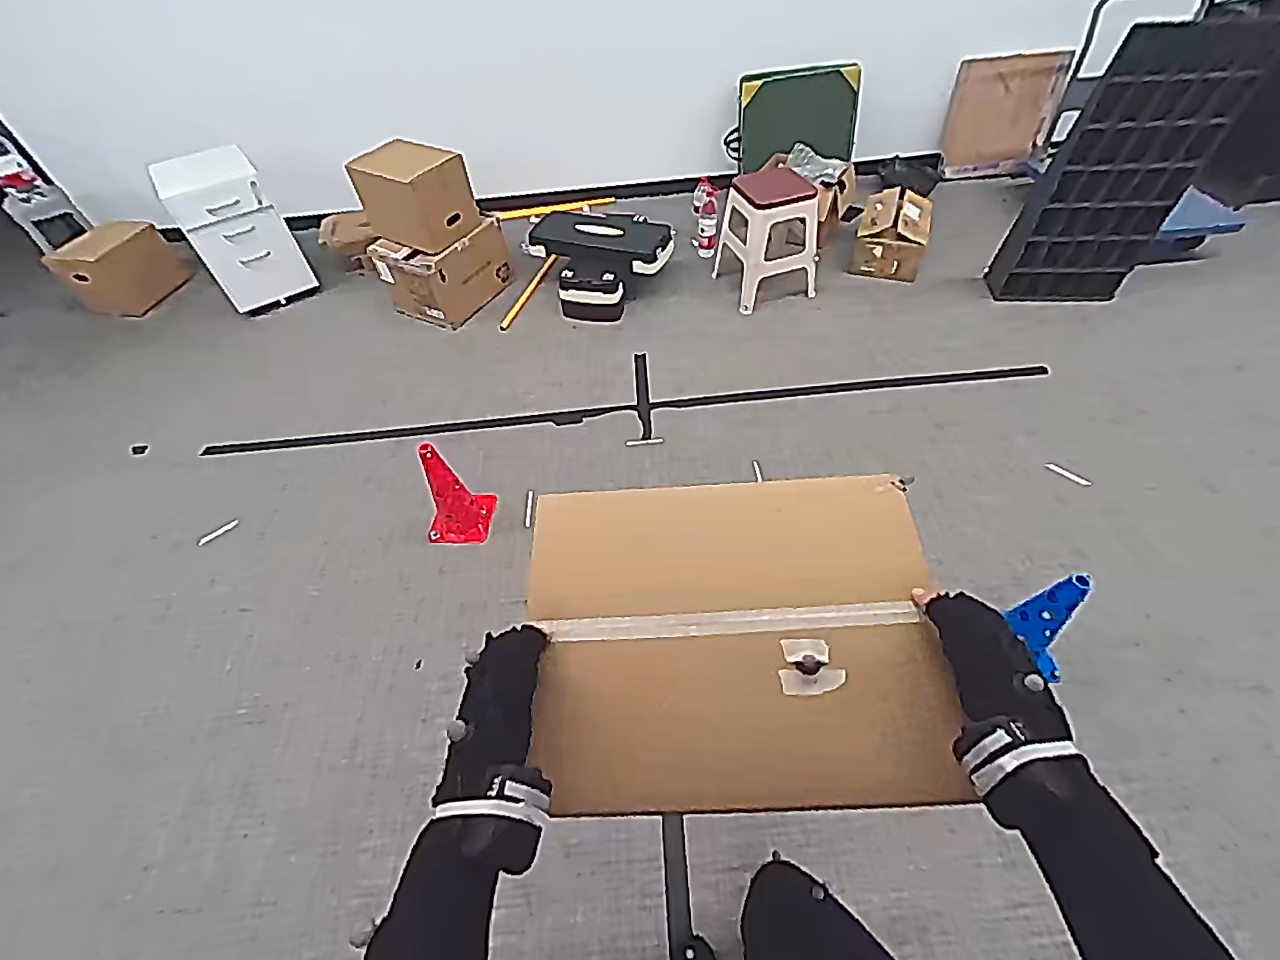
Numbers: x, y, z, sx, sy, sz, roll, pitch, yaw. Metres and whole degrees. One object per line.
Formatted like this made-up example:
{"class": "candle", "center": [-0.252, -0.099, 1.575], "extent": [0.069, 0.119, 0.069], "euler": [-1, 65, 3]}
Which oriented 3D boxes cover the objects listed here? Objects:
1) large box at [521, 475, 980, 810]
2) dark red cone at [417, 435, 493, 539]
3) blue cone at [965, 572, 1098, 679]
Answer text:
{"class": "large box", "center": [0.095, 0.216, 0.666], "extent": [0.408, 0.320, 0.320], "euler": [-4, 59, 3]}
{"class": "dark red cone", "center": [-0.613, 0.011, 1.693], "extent": [0.201, 0.394, 0.202], "euler": [0, 50, 4]}
{"class": "blue cone", "center": [0.983, 0.336, 1.325], "extent": [0.192, 0.380, 0.193], "euler": [-2, 50, 2]}
